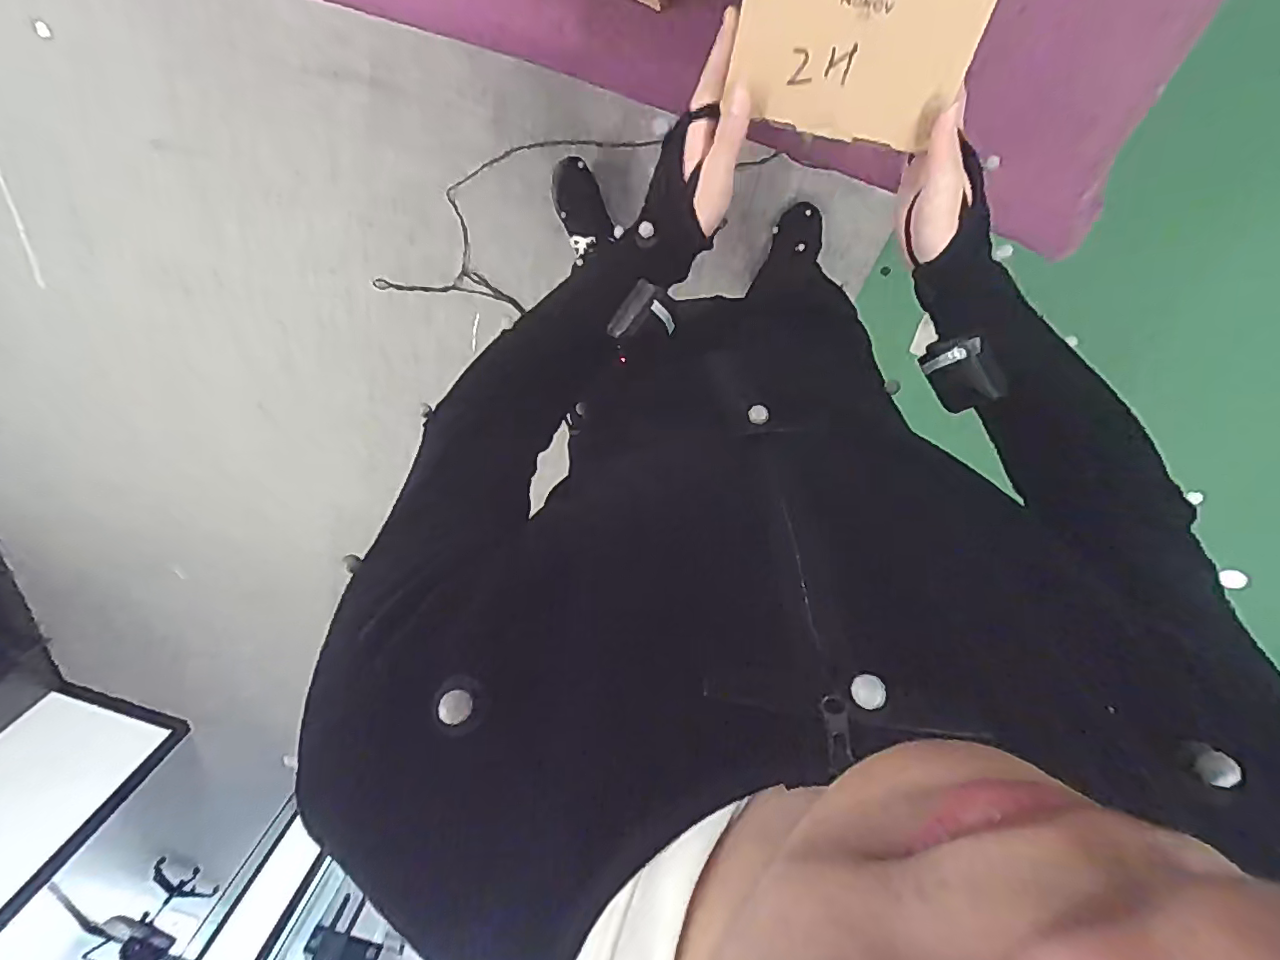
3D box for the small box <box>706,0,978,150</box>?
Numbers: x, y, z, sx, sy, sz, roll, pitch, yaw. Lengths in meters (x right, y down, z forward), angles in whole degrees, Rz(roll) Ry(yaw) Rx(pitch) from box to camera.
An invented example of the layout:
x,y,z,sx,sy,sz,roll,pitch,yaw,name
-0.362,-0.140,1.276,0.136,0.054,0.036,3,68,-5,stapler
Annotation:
x,y,z,sx,sy,sz,roll,pitch,yaw,name
0.153,-0.379,0.416,0.168,0.176,0.179,13,129,2,small box
